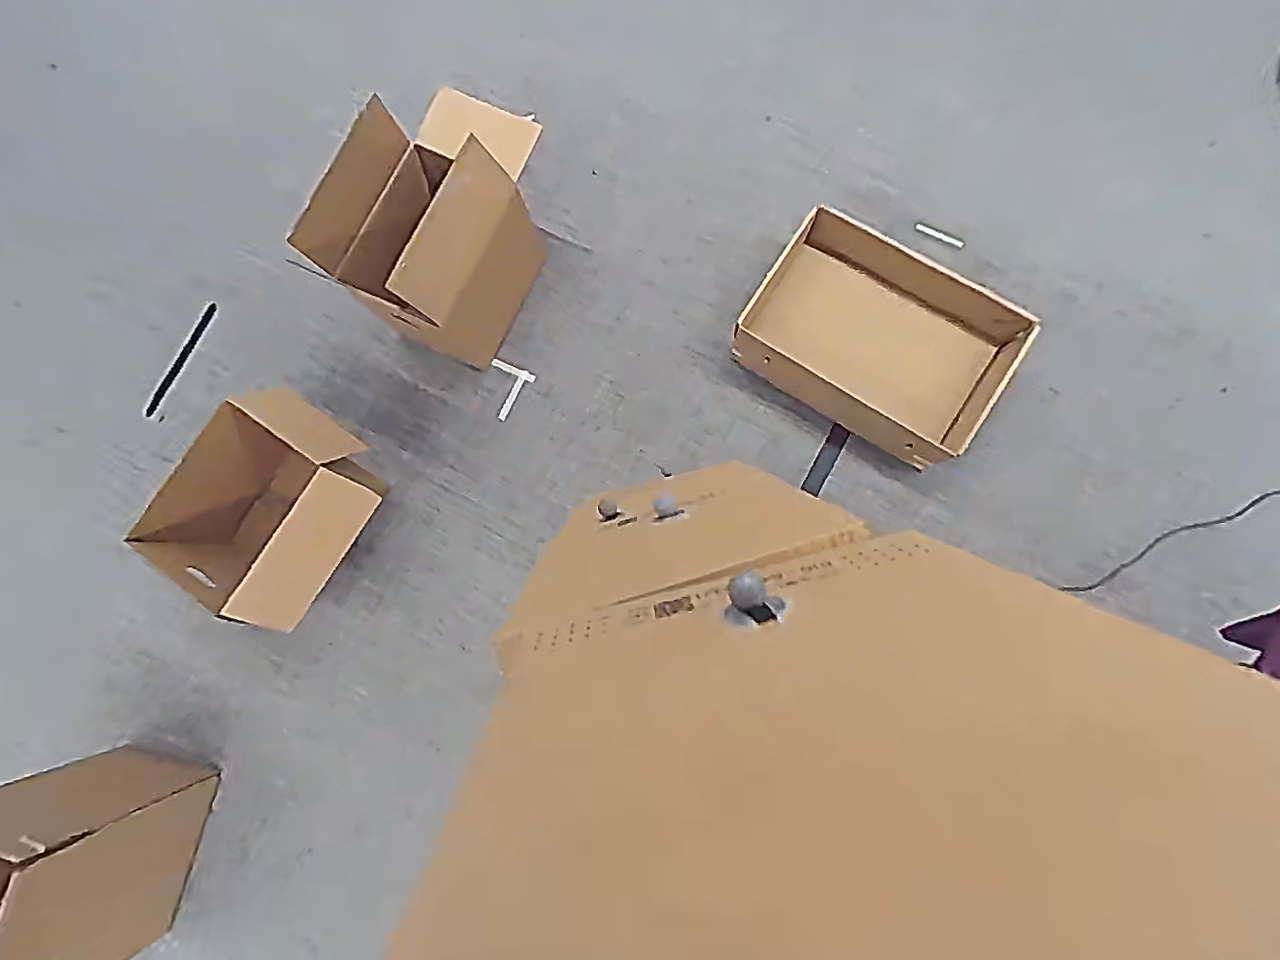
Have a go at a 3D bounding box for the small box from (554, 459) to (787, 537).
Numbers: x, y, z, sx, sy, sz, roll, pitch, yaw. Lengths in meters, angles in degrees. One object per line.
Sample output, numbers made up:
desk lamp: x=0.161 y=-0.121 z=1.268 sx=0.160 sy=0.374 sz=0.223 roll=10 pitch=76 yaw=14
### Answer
small box: x=0.038 y=0.087 z=0.471 sx=0.179 sy=0.176 sz=0.168 roll=-17 pitch=98 yaw=0
